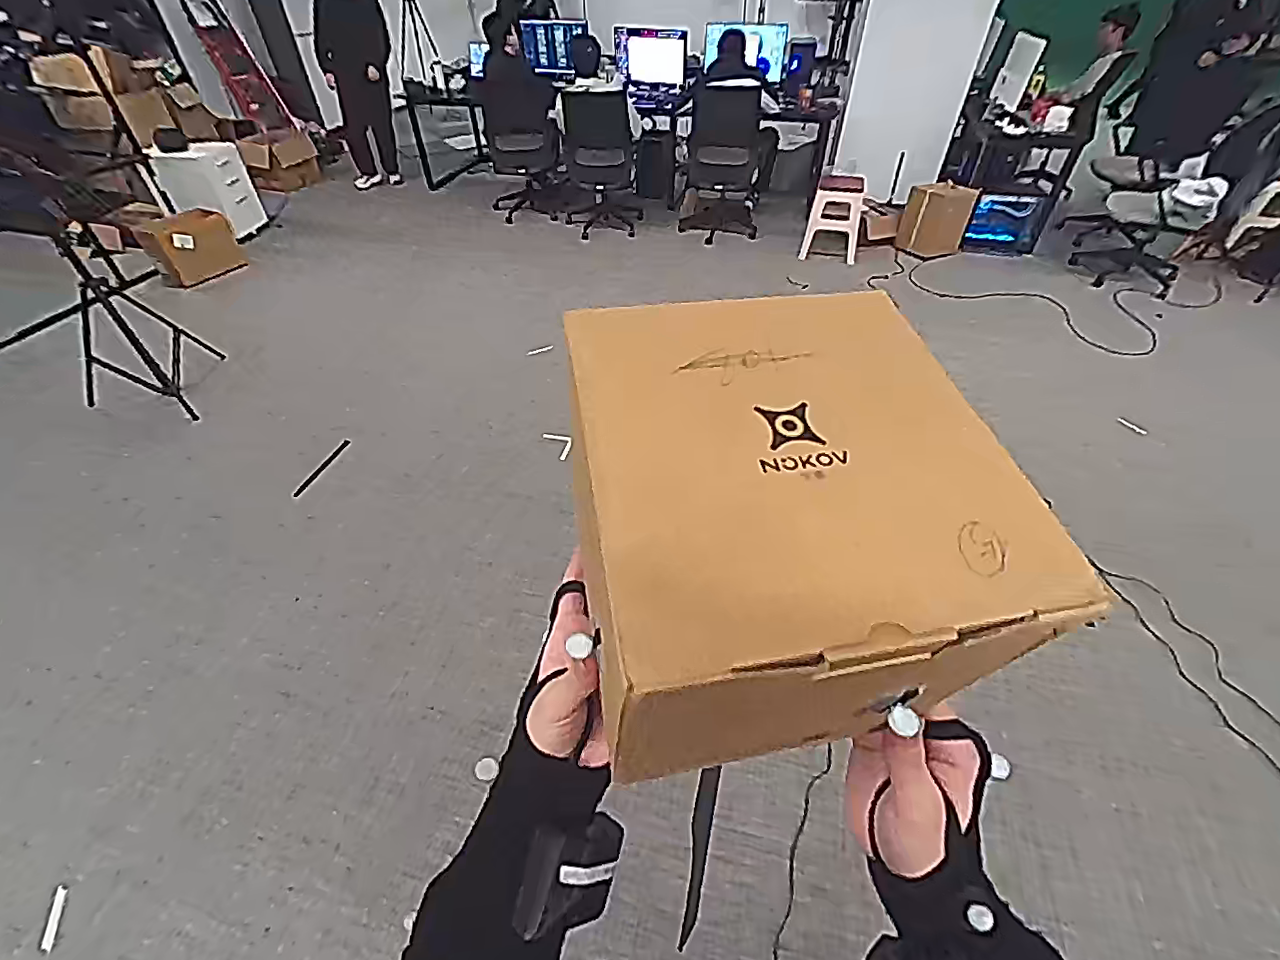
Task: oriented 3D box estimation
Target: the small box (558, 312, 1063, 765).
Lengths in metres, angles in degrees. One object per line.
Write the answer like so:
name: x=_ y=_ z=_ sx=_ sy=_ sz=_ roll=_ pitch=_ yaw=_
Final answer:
small box: x=0.052 y=0.037 z=0.290 sx=0.168 sy=0.176 sz=0.179 roll=-7 pitch=53 yaw=-10
